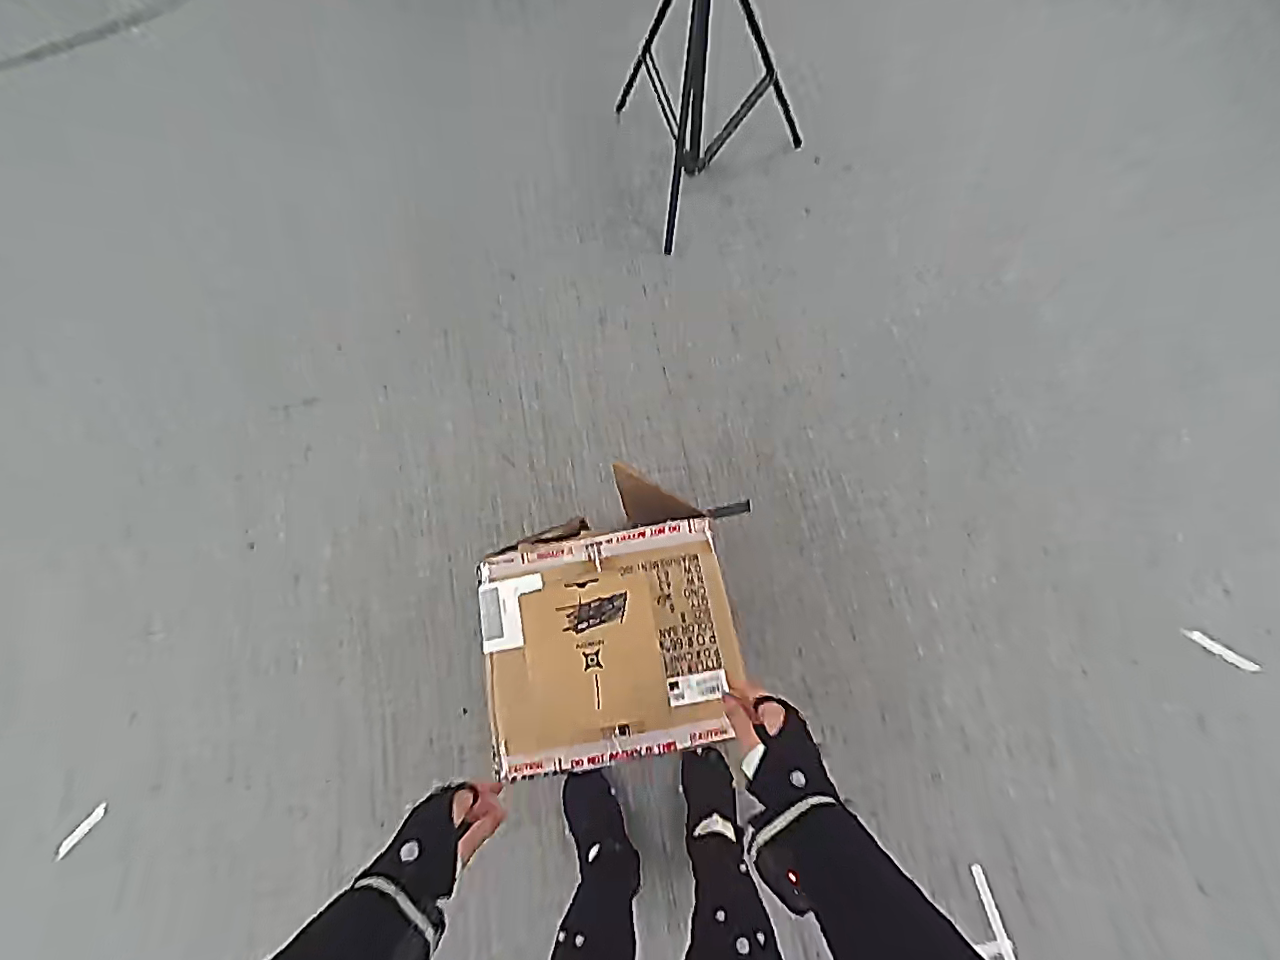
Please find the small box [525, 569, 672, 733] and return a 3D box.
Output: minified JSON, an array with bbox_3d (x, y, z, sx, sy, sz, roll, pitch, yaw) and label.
[{"bbox_3d":[-0.052,0.230,0.747,0.168,0.176,0.179,-10,76,0],"label":"small box"}]
